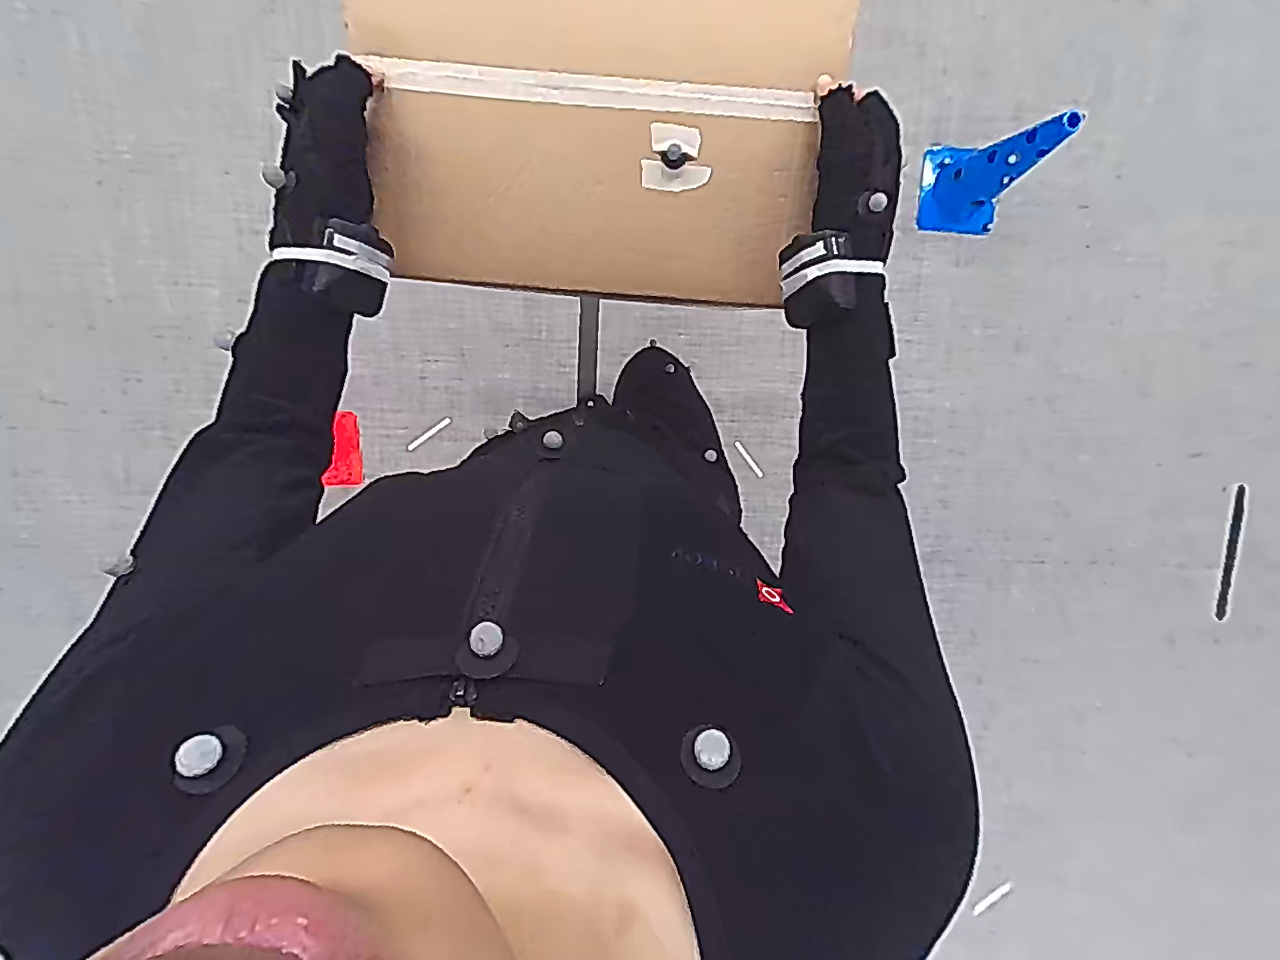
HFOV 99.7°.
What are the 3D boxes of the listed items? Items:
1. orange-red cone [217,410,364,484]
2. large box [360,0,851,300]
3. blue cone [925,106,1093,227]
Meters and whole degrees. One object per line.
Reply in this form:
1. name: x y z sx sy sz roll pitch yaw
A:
1. orange-red cone: -0.835 -0.058 1.263 0.198 0.360 0.199 0 100 0
2. large box: -0.034 -0.375 0.593 0.408 0.320 0.320 4 108 -1
3. blue cone: 0.827 -0.720 1.208 0.192 0.380 0.193 5 99 -3
